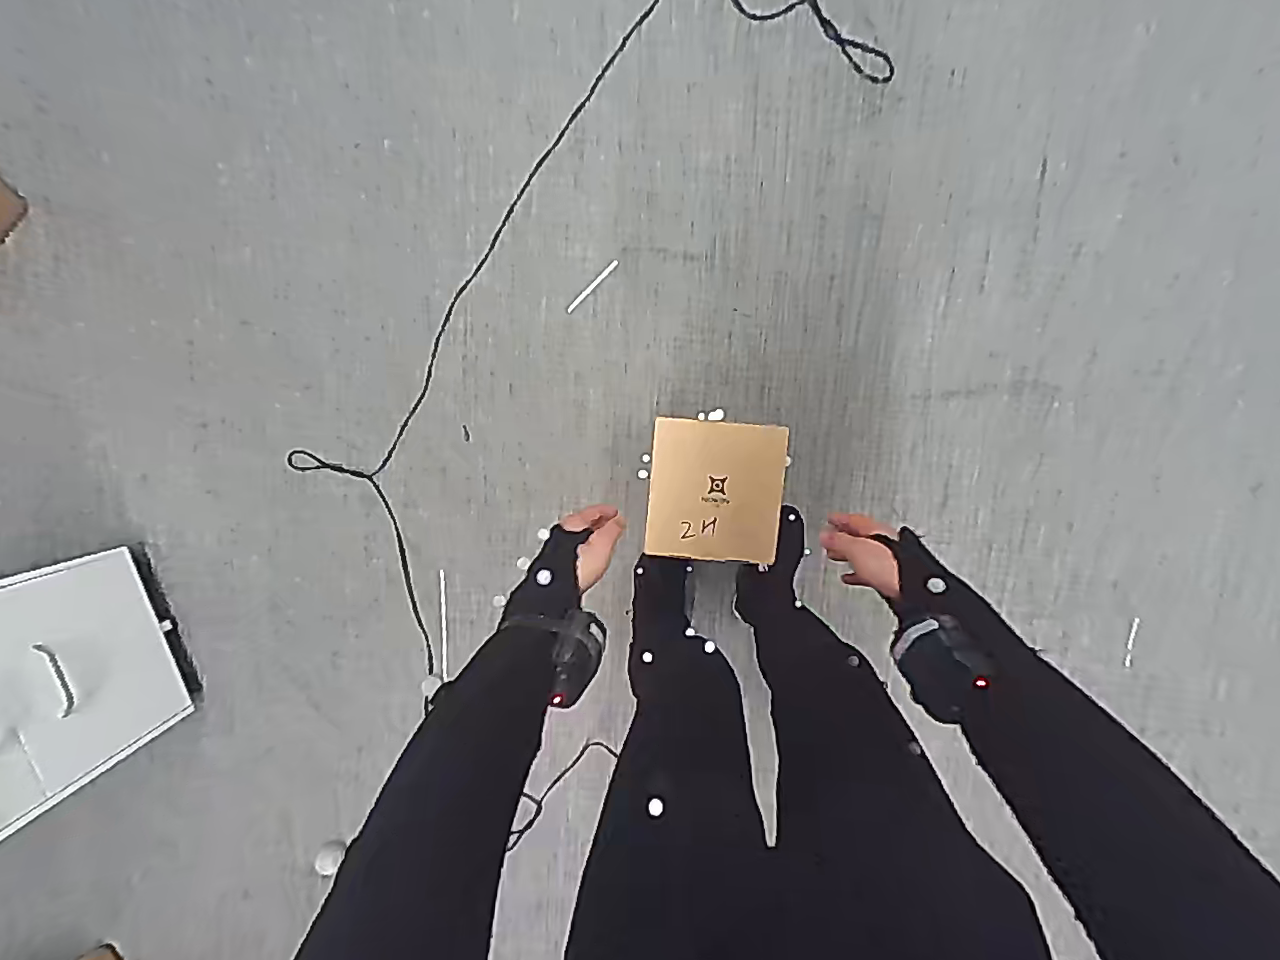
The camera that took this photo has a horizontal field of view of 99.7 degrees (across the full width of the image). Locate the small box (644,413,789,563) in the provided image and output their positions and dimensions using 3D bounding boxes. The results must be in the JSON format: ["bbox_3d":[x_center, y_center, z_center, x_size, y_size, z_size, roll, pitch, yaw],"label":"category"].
[{"bbox_3d":[0.095,0.002,0.748,0.168,0.176,0.179,5,97,1],"label":"small box"}]
